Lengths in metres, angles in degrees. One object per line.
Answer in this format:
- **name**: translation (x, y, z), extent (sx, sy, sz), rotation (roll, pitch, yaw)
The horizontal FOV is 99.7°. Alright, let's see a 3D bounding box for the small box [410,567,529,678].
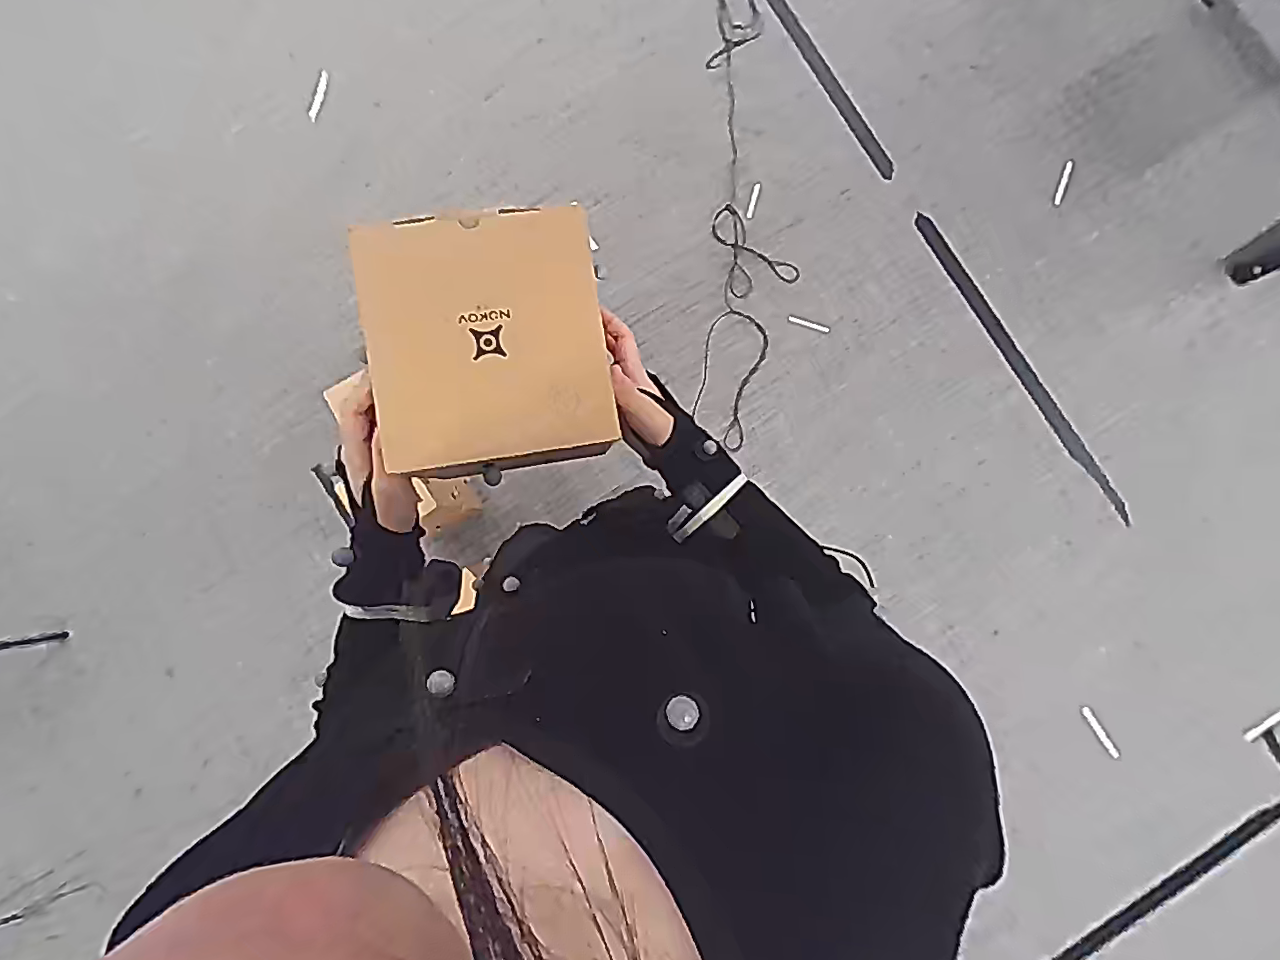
- **small box**: translation (-0.379, 0.315, 1.241), extent (0.168, 0.176, 0.179), rotation (-43, 86, -4)

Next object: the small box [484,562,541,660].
- **small box**: translation (-0.378, 0.329, 1.403), extent (0.168, 0.176, 0.179), rotation (-45, 88, -4)

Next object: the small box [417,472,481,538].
- **small box**: translation (-0.549, 0.047, 1.422), extent (0.179, 0.176, 0.168), rotation (-30, 87, -3)

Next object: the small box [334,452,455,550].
- **small box**: translation (-0.554, 0.044, 1.257), extent (0.179, 0.176, 0.168), rotation (-33, 86, -2)

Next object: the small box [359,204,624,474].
- **small box**: translation (-0.110, -0.100, 0.459), extent (0.168, 0.176, 0.179), rotation (-9, 89, -7)
